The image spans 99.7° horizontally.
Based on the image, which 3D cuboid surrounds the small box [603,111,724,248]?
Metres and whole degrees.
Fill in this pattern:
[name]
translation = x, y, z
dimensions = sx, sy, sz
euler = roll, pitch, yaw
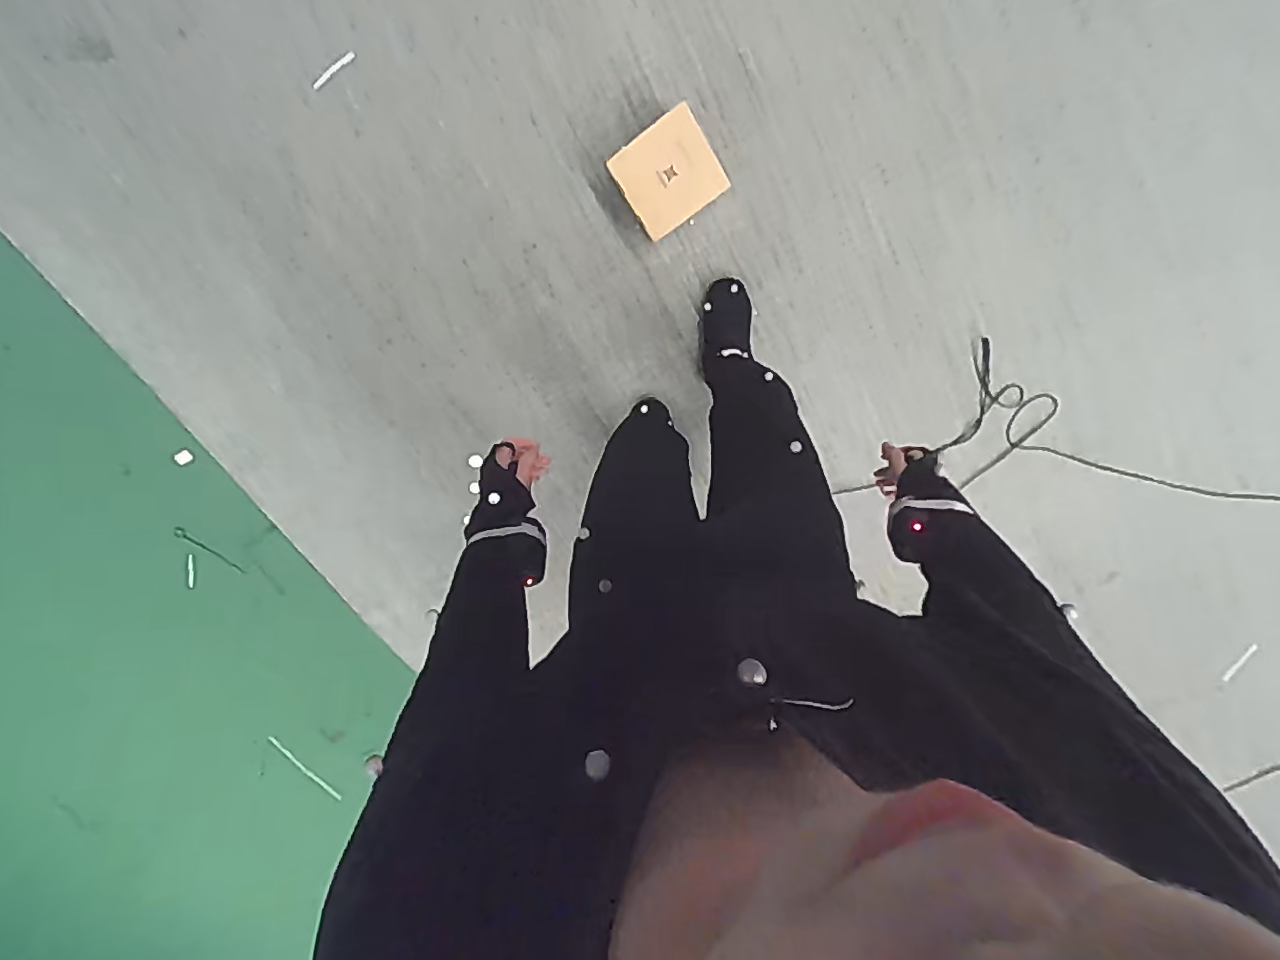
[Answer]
[small box]
translation = 0.048, -0.585, 1.080
dimensions = 0.179, 0.176, 0.168
euler = -31, 109, 14
